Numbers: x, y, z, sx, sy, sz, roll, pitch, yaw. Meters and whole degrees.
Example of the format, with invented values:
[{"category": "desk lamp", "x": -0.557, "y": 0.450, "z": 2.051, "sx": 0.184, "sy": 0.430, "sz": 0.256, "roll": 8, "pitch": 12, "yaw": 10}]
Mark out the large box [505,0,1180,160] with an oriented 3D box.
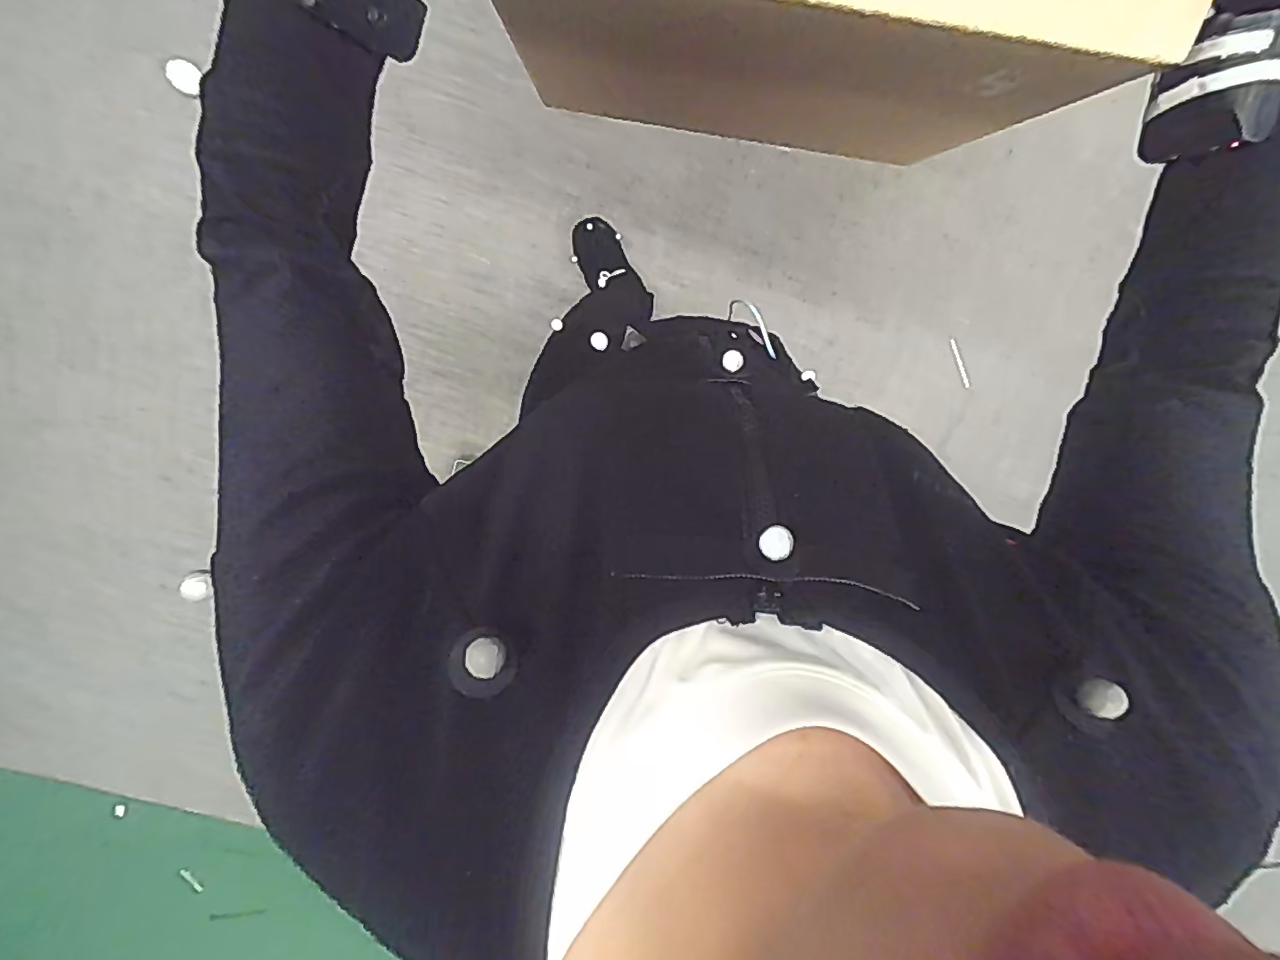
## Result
[{"category": "large box", "x": 0.117, "y": -0.459, "z": 0.391, "sx": 0.408, "sy": 0.320, "sz": 0.320, "roll": 5, "pitch": 110, "yaw": -5}]
